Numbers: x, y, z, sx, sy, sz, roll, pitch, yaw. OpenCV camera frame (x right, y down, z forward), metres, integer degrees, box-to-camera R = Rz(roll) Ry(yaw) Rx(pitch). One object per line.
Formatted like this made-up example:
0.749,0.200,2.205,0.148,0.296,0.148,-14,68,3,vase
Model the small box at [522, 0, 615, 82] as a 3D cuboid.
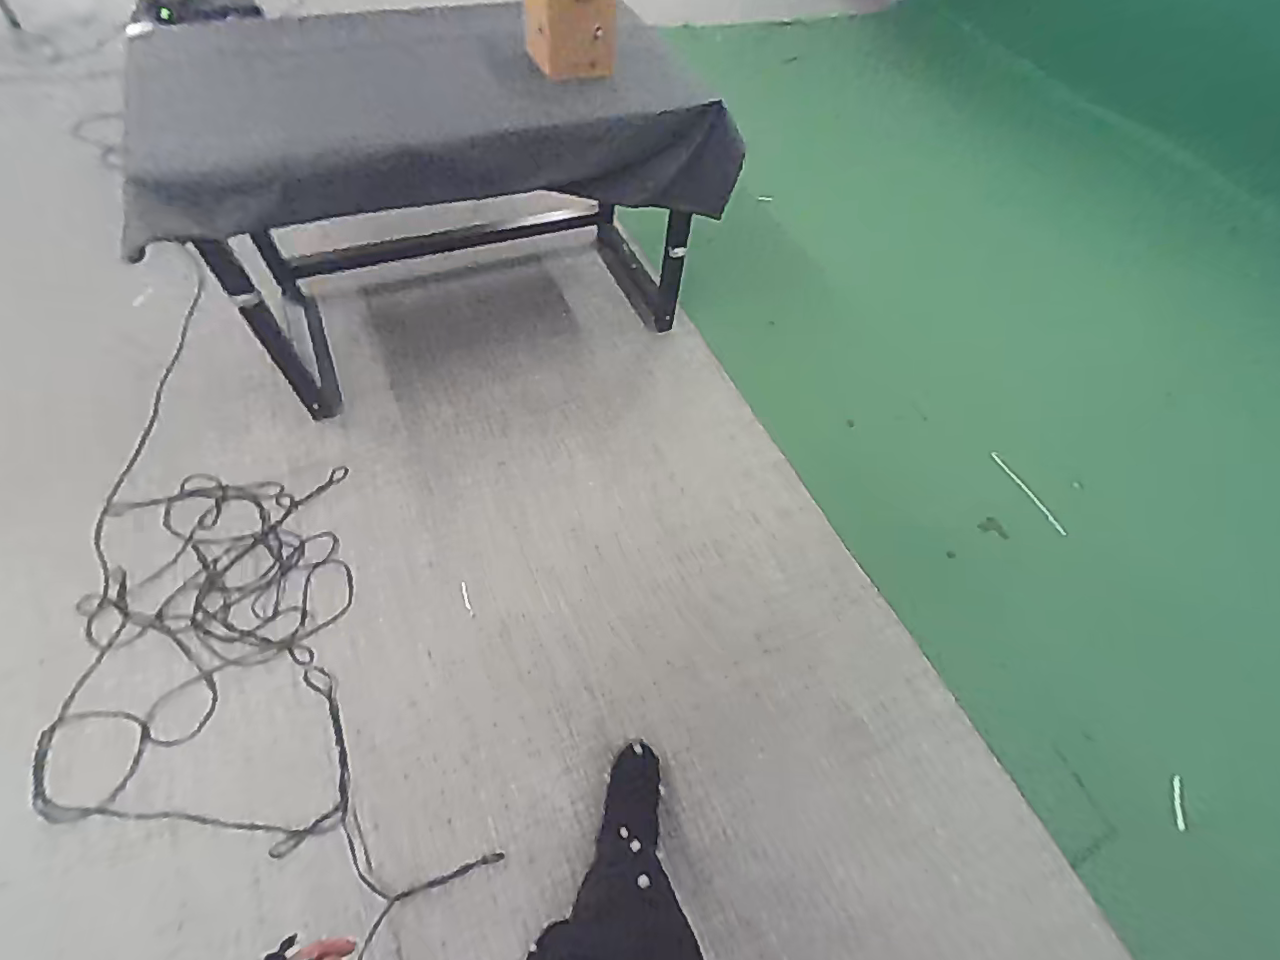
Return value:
-0.165,-1.054,1.257,0.168,0.176,0.179,-20,61,-19,small box
